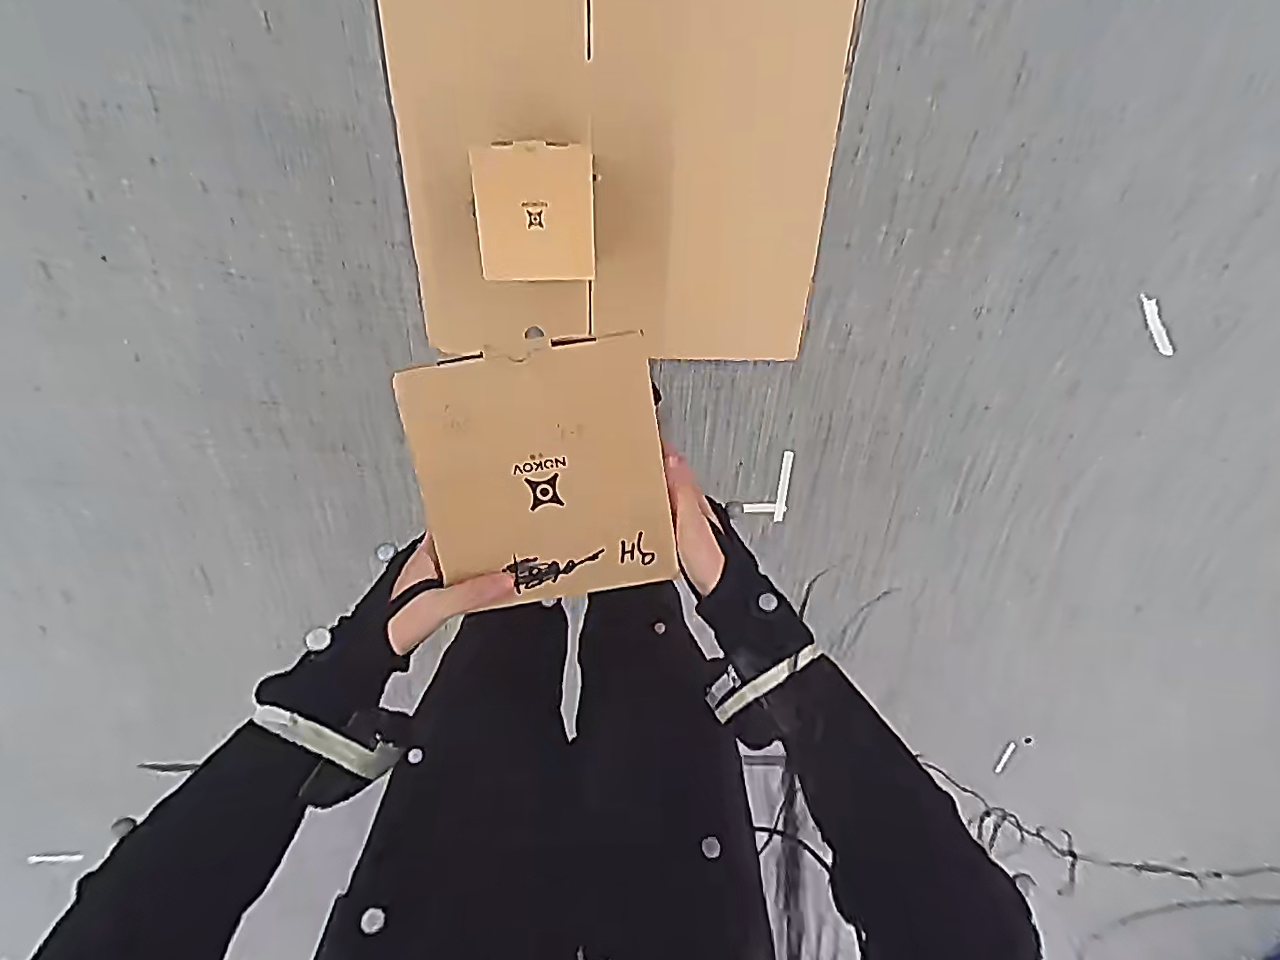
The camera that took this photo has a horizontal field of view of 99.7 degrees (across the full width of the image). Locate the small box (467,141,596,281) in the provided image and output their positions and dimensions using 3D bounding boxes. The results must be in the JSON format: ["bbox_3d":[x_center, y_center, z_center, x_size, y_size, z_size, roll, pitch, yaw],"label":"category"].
[{"bbox_3d":[-0.152,-0.408,0.823,0.168,0.176,0.179,-2,118,-3],"label":"small box"}]

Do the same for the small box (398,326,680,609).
[{"bbox_3d":[-0.067,-0.021,0.444,0.168,0.176,0.179,-10,104,0],"label":"small box"}]
